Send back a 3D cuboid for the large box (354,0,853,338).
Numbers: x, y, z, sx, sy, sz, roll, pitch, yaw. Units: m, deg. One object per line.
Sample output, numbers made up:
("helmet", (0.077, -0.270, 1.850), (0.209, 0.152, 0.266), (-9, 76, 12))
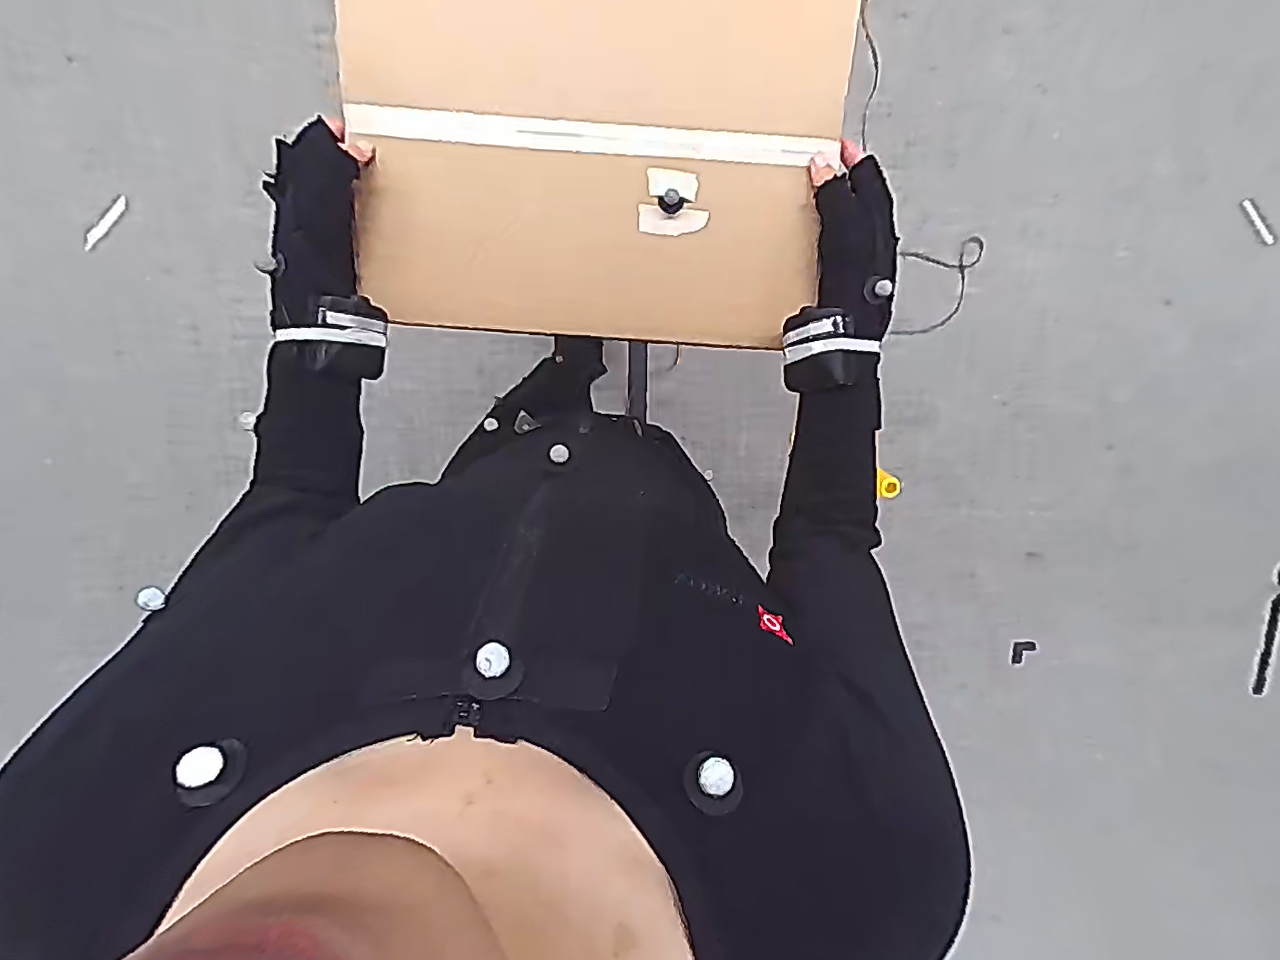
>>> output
("large box", (-0.037, -0.327, 0.596), (0.408, 0.320, 0.320), (3, 105, -2))
